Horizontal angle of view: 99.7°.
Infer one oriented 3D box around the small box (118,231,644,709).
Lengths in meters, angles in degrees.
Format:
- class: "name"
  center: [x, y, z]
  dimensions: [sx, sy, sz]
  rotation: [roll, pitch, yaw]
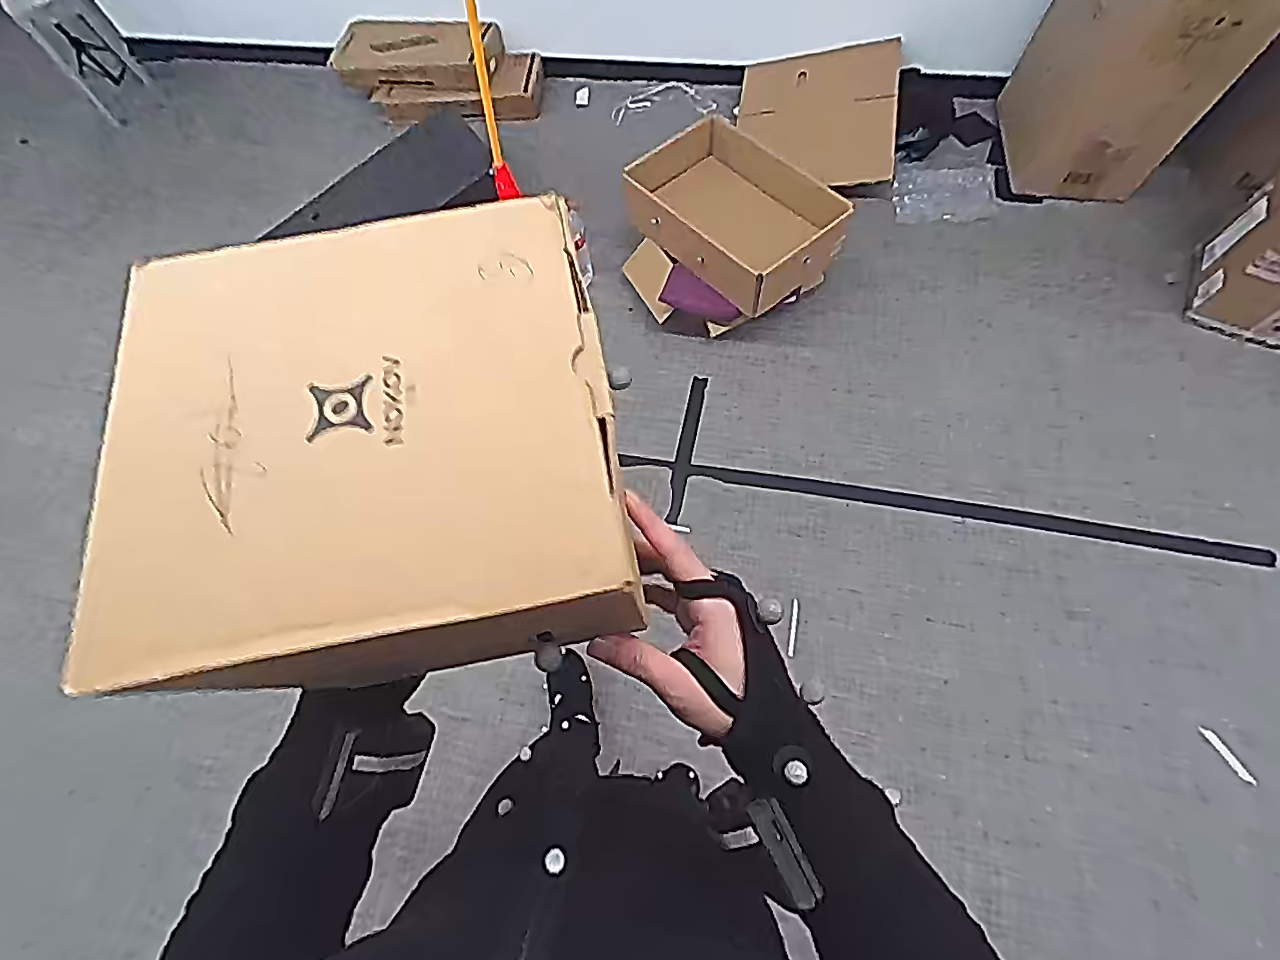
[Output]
- class: "small box"
  center: [-0.097, 0.010, 0.279]
  dimensions: [0.179, 0.176, 0.168]
  rotation: [-12, 70, -2]
